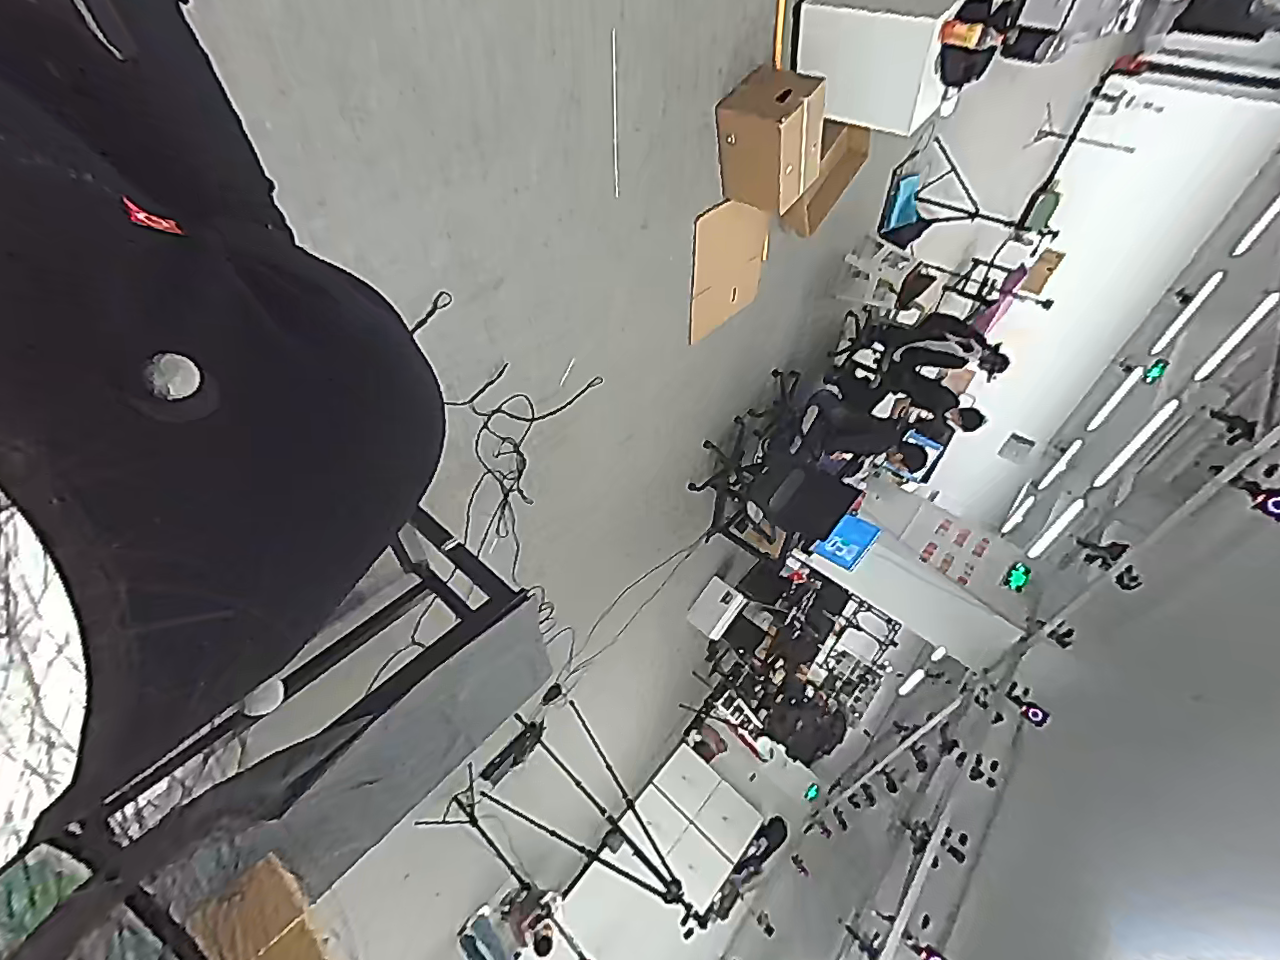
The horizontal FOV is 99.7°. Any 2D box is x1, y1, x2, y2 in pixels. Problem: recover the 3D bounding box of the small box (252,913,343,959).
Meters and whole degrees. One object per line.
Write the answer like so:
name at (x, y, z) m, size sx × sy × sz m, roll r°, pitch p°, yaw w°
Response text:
small box at (-0.719, 1.061, 1.123) m, size 0.179 × 0.176 × 0.168 m, roll -30°, pitch 143°, yaw -39°
